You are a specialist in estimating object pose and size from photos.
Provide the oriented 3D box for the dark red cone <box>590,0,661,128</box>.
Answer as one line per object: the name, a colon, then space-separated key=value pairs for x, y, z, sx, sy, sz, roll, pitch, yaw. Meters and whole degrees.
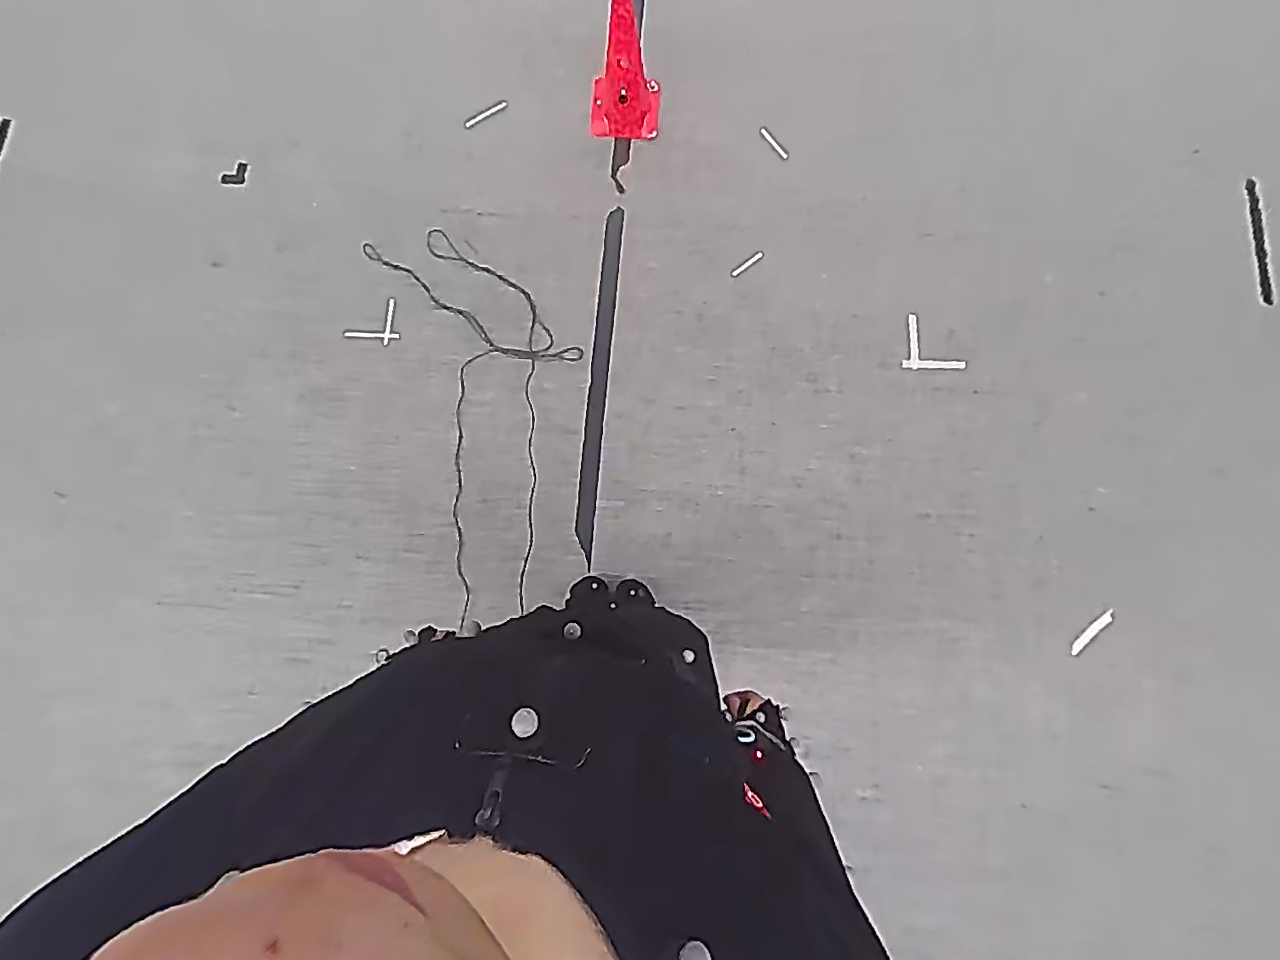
dark red cone: x=-0.045 y=-1.142 z=1.409 sx=0.201 sy=0.394 sz=0.202 roll=3 pitch=82 yaw=2
